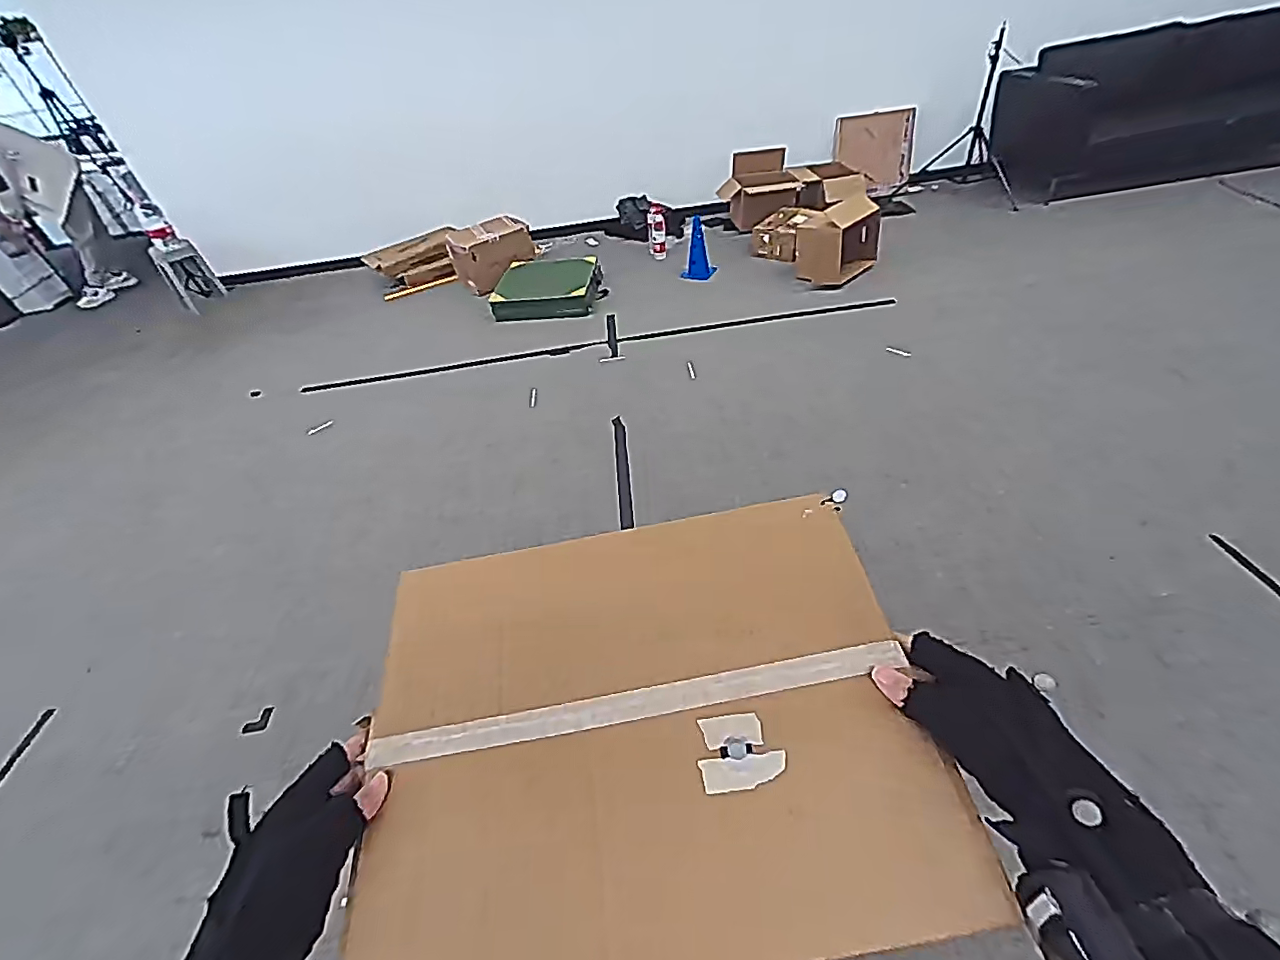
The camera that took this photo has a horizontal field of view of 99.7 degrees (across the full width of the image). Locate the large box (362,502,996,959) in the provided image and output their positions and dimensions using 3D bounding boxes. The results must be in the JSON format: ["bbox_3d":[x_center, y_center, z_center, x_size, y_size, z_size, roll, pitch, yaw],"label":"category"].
[{"bbox_3d":[0.017,0.267,0.532,0.408,0.320,0.320,-11,51,0],"label":"large box"}]
